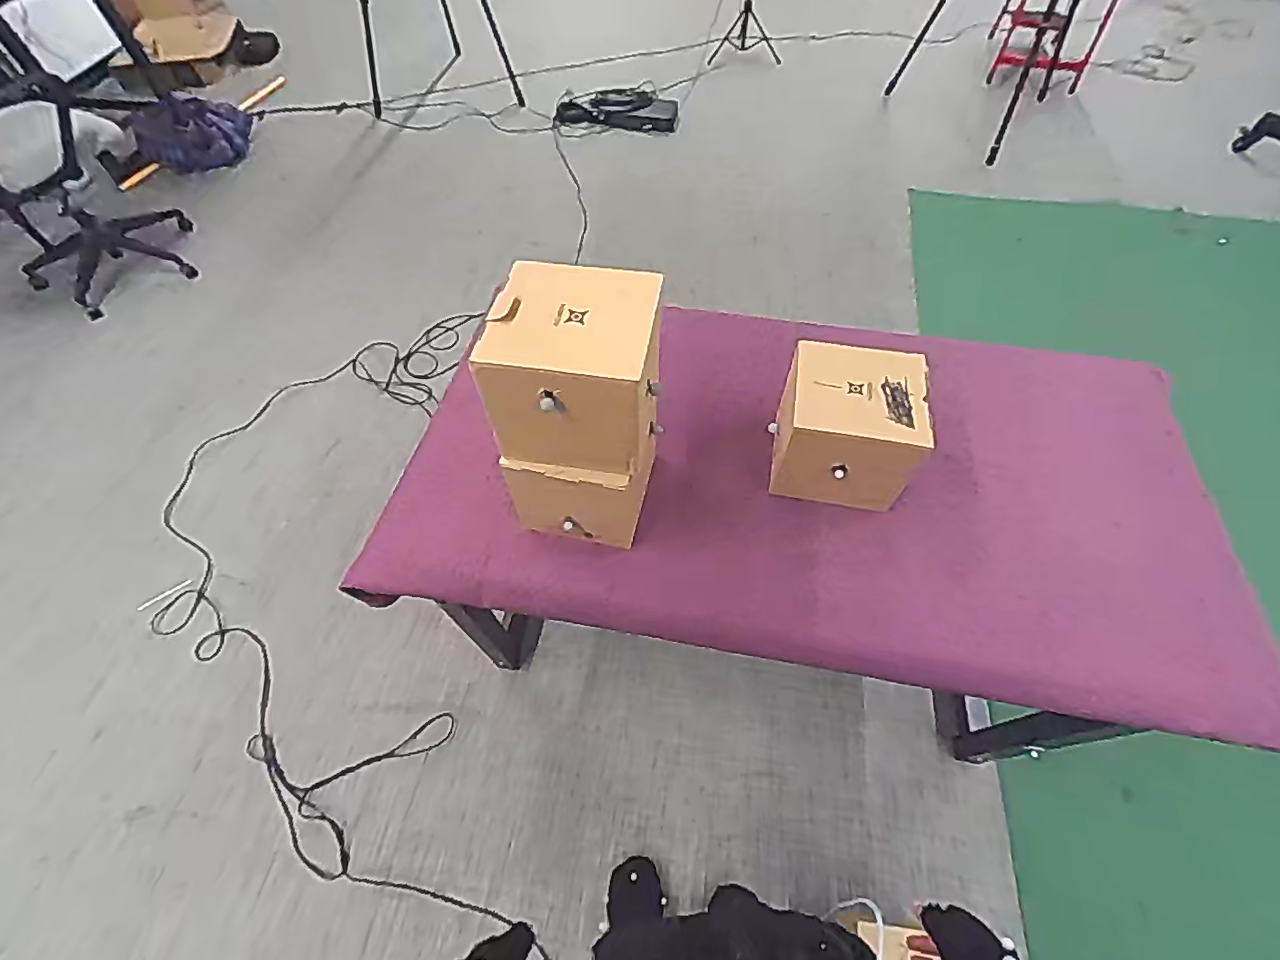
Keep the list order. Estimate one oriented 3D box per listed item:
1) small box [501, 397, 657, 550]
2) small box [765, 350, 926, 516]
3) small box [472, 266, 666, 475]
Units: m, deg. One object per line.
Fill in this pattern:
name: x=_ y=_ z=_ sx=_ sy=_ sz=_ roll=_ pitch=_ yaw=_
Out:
small box: x=-0.077 y=-0.026 z=0.772 sx=0.168 sy=0.176 sz=0.179 roll=12 pitch=58 yaw=7
small box: x=0.295 y=-0.064 z=0.800 sx=0.179 sy=0.176 sz=0.168 roll=10 pitch=58 yaw=7
small box: x=-0.070 y=-0.122 z=0.641 sx=0.179 sy=0.176 sz=0.168 roll=8 pitch=58 yaw=5
